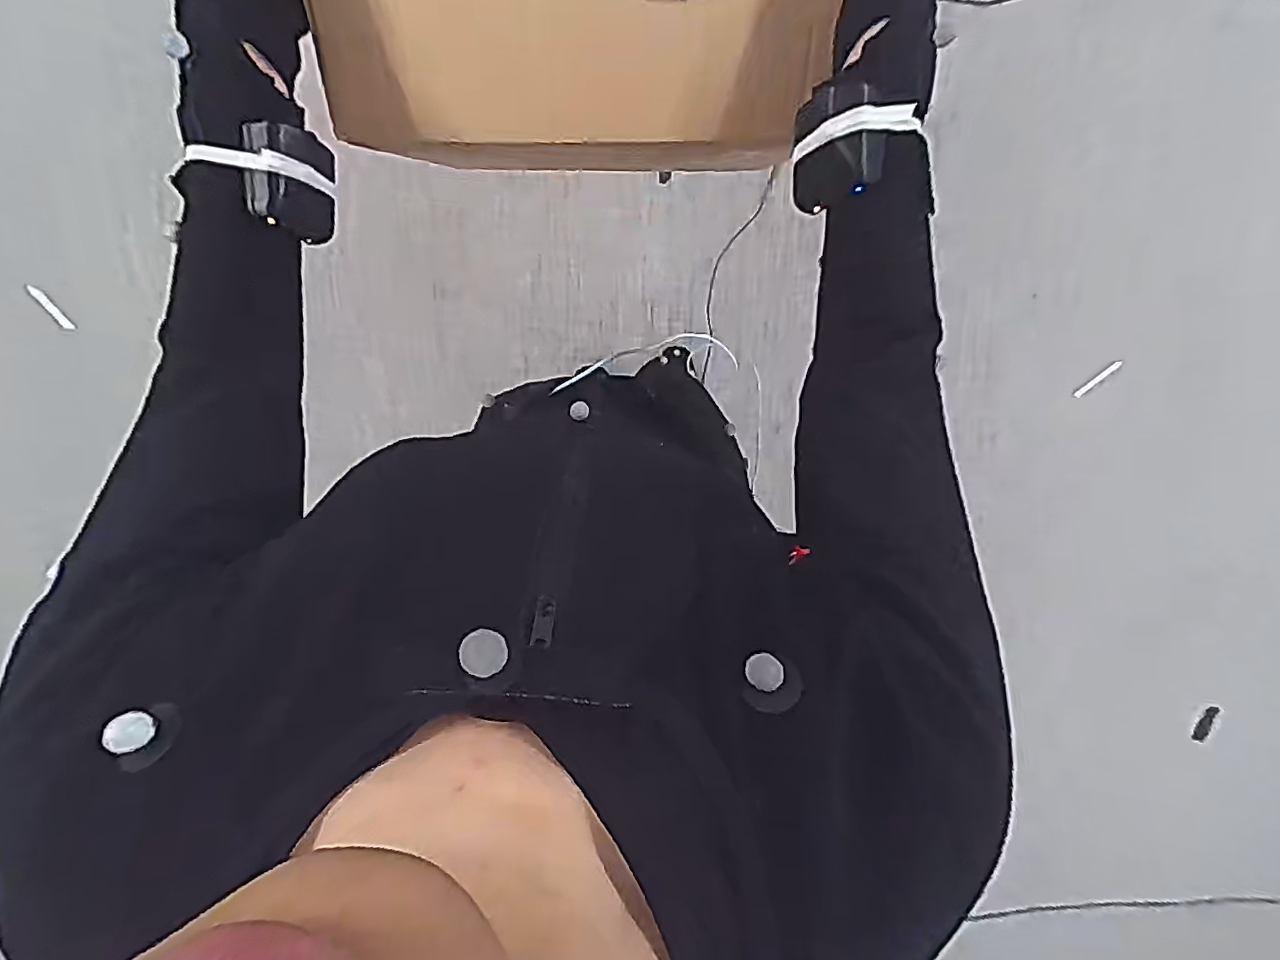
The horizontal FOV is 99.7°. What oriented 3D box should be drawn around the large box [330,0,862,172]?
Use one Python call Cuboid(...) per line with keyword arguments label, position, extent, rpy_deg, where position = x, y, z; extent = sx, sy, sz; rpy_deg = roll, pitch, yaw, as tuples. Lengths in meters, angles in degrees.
Cuboid(label="large box", position=(-0.034, -0.482, 0.507), extent=(0.408, 0.320, 0.320), rpy_deg=(0, 116, 0))
